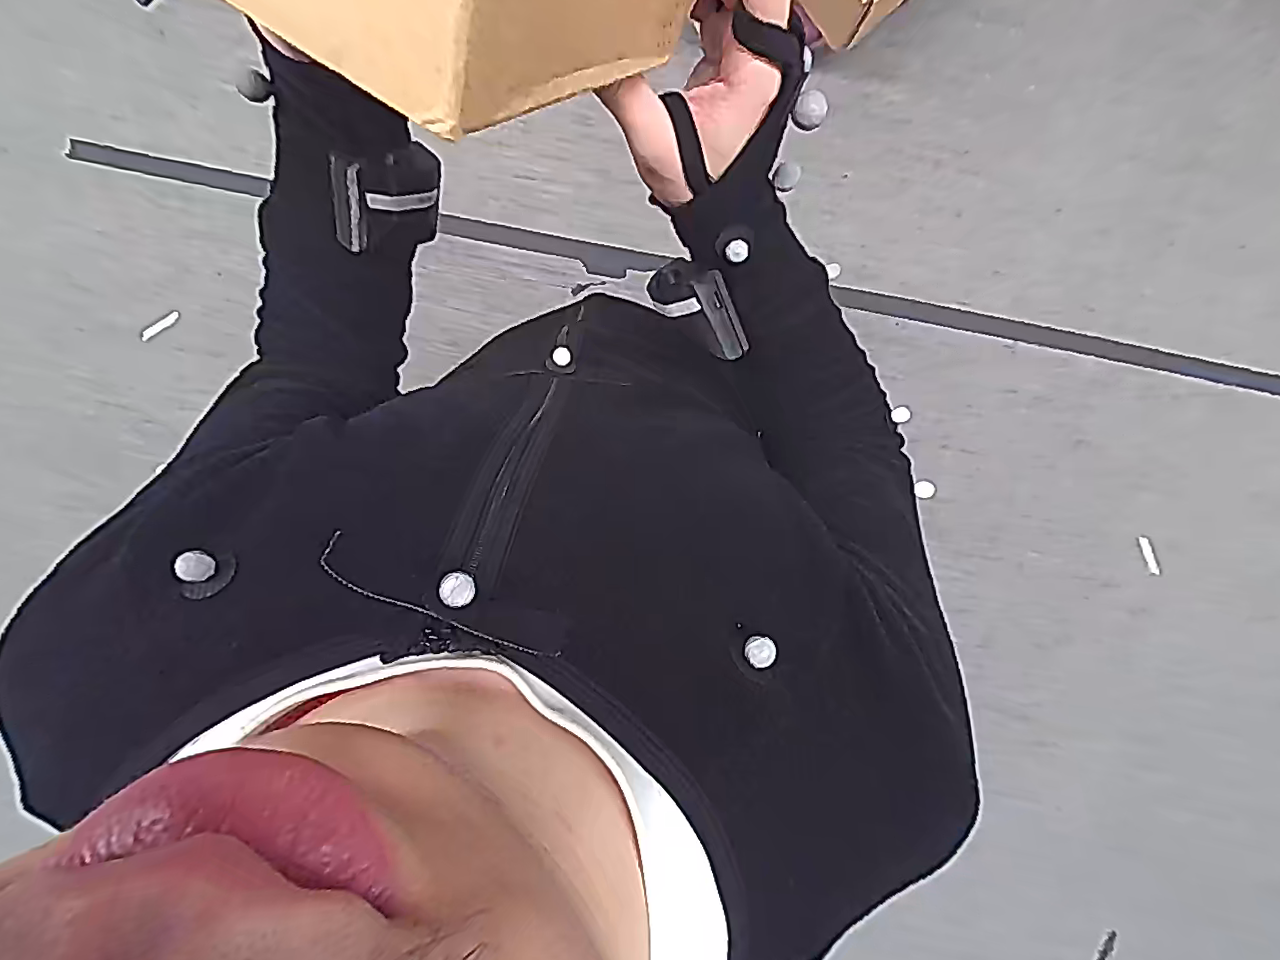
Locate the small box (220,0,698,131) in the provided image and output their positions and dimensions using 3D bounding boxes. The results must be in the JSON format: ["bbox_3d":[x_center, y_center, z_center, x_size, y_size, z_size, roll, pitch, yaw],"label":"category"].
[{"bbox_3d":[-0.059,-0.230,0.135,0.179,0.176,0.168,32,138,-1],"label":"small box"}]
